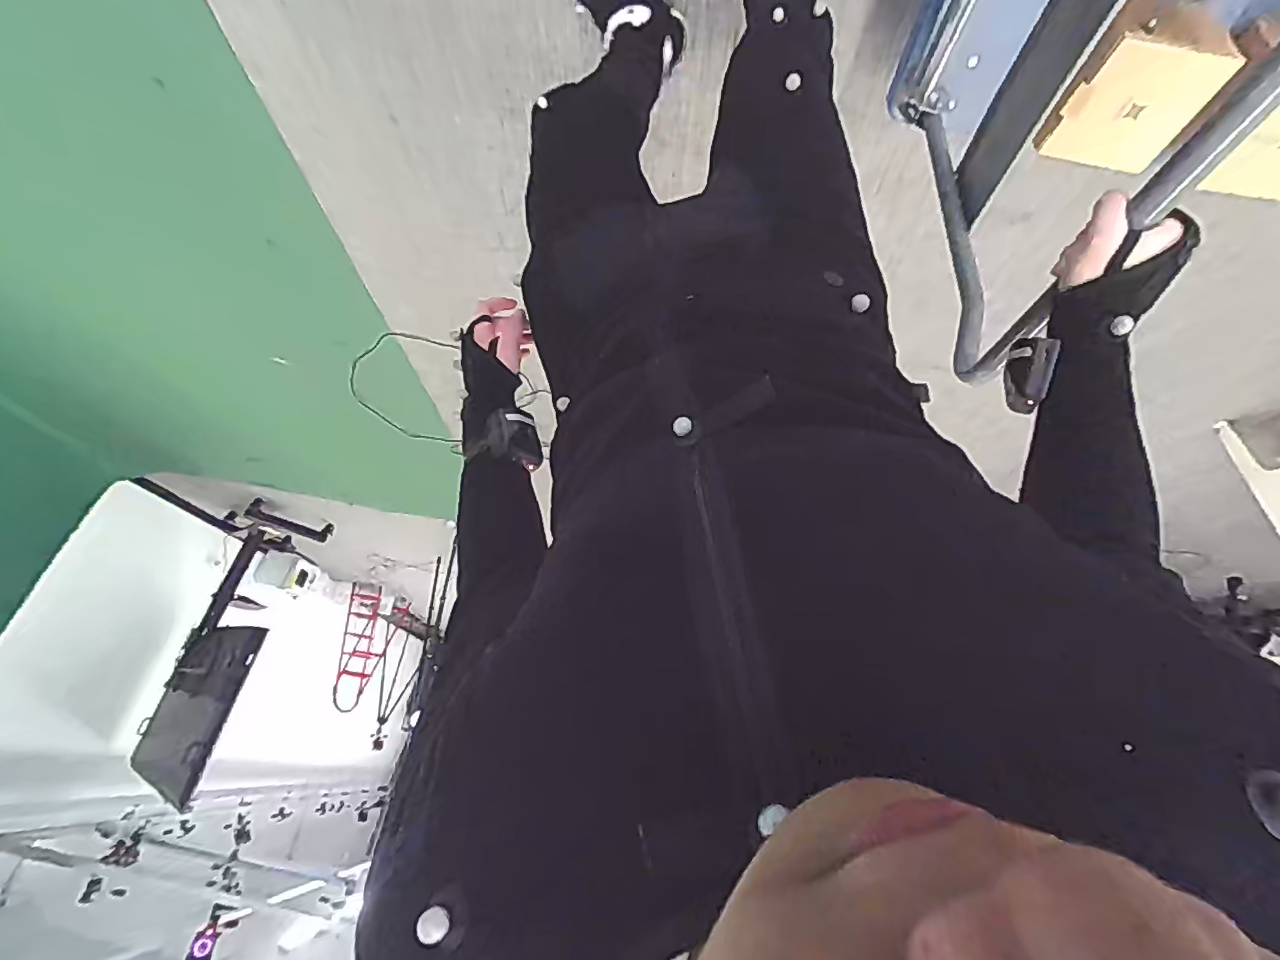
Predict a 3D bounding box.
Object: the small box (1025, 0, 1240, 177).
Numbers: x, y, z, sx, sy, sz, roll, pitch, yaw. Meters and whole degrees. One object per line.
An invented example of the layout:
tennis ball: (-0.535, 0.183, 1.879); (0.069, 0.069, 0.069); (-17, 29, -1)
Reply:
small box: (0.753, -0.620, 0.850); (0.179, 0.176, 0.168); (13, 152, 1)

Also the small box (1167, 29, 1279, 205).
small box: (0.996, -0.567, 0.848); (0.179, 0.176, 0.168); (11, 152, 4)
